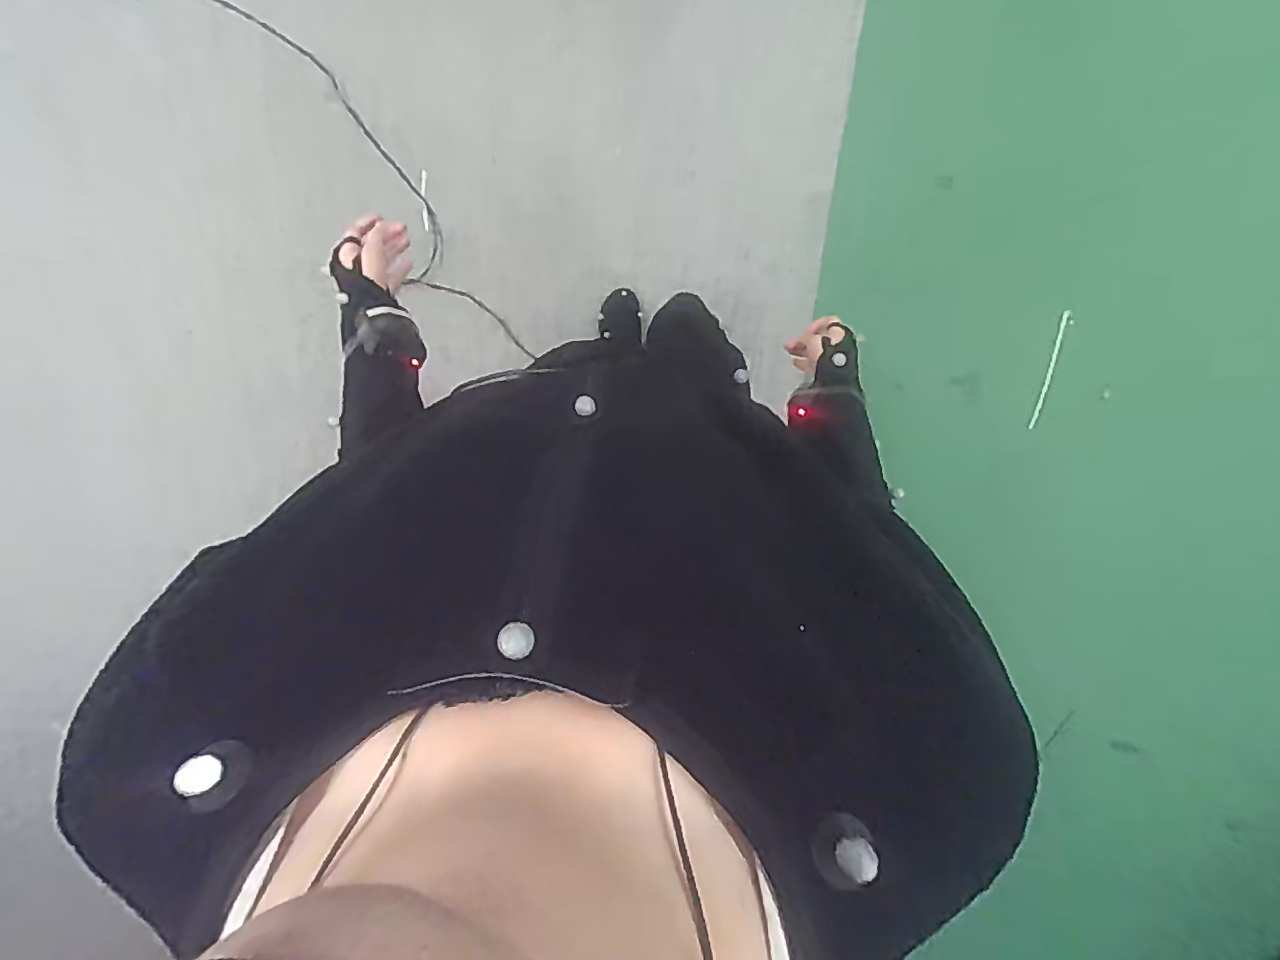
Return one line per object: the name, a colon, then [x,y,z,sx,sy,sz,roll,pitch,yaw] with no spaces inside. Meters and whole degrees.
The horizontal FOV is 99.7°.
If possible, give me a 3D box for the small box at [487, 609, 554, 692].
small box: [-0.347,0.498,1.595,0.168,0.176,0.179,2,109,-1]
